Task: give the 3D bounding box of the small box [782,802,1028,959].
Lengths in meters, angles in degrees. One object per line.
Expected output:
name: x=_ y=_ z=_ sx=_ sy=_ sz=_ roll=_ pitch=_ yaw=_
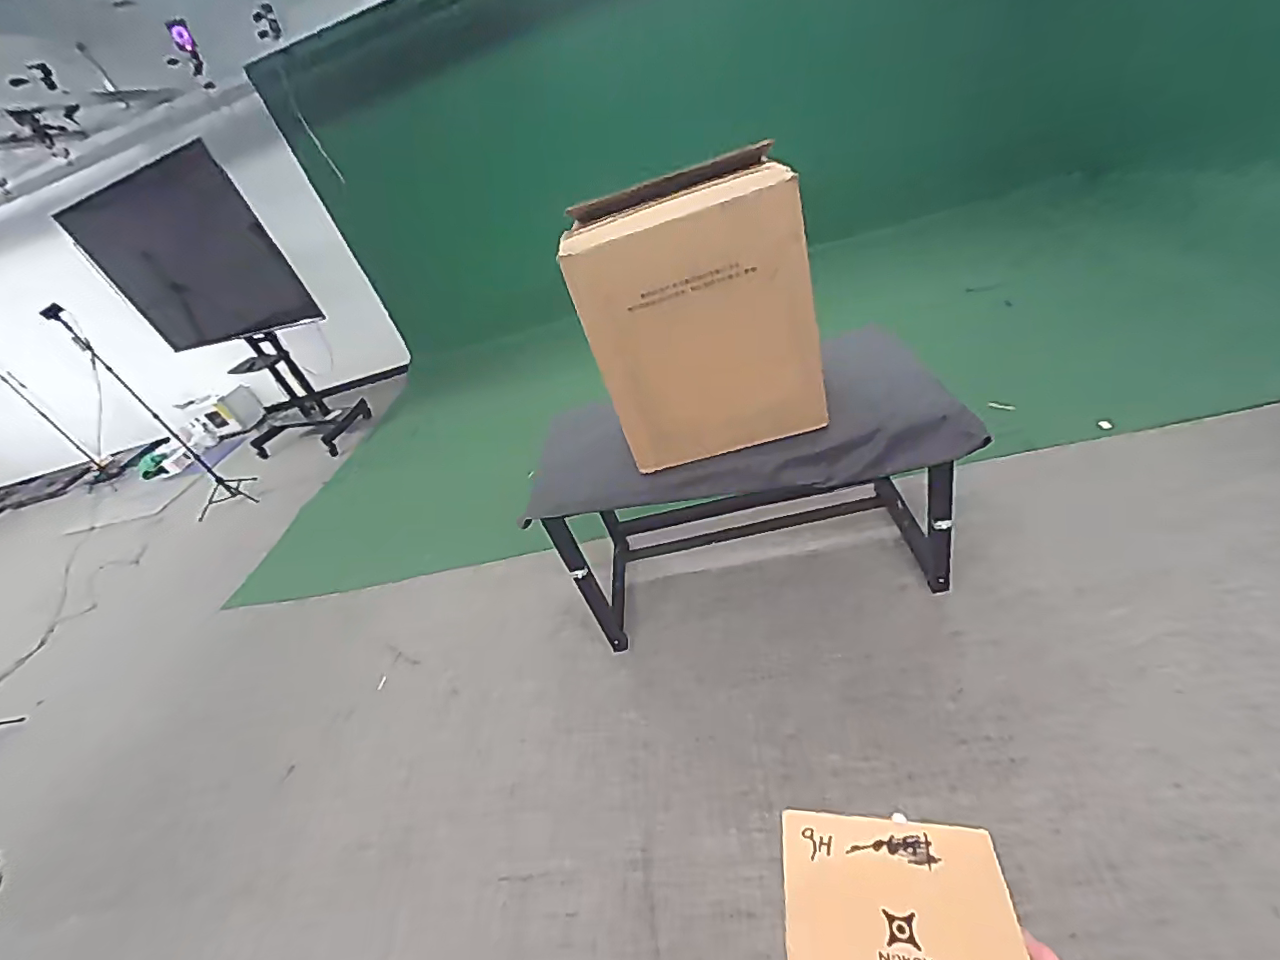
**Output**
small box: x=0.206 y=0.401 z=0.442 sx=0.168 sy=0.176 sz=0.179 roll=-2 pitch=33 yaw=14
